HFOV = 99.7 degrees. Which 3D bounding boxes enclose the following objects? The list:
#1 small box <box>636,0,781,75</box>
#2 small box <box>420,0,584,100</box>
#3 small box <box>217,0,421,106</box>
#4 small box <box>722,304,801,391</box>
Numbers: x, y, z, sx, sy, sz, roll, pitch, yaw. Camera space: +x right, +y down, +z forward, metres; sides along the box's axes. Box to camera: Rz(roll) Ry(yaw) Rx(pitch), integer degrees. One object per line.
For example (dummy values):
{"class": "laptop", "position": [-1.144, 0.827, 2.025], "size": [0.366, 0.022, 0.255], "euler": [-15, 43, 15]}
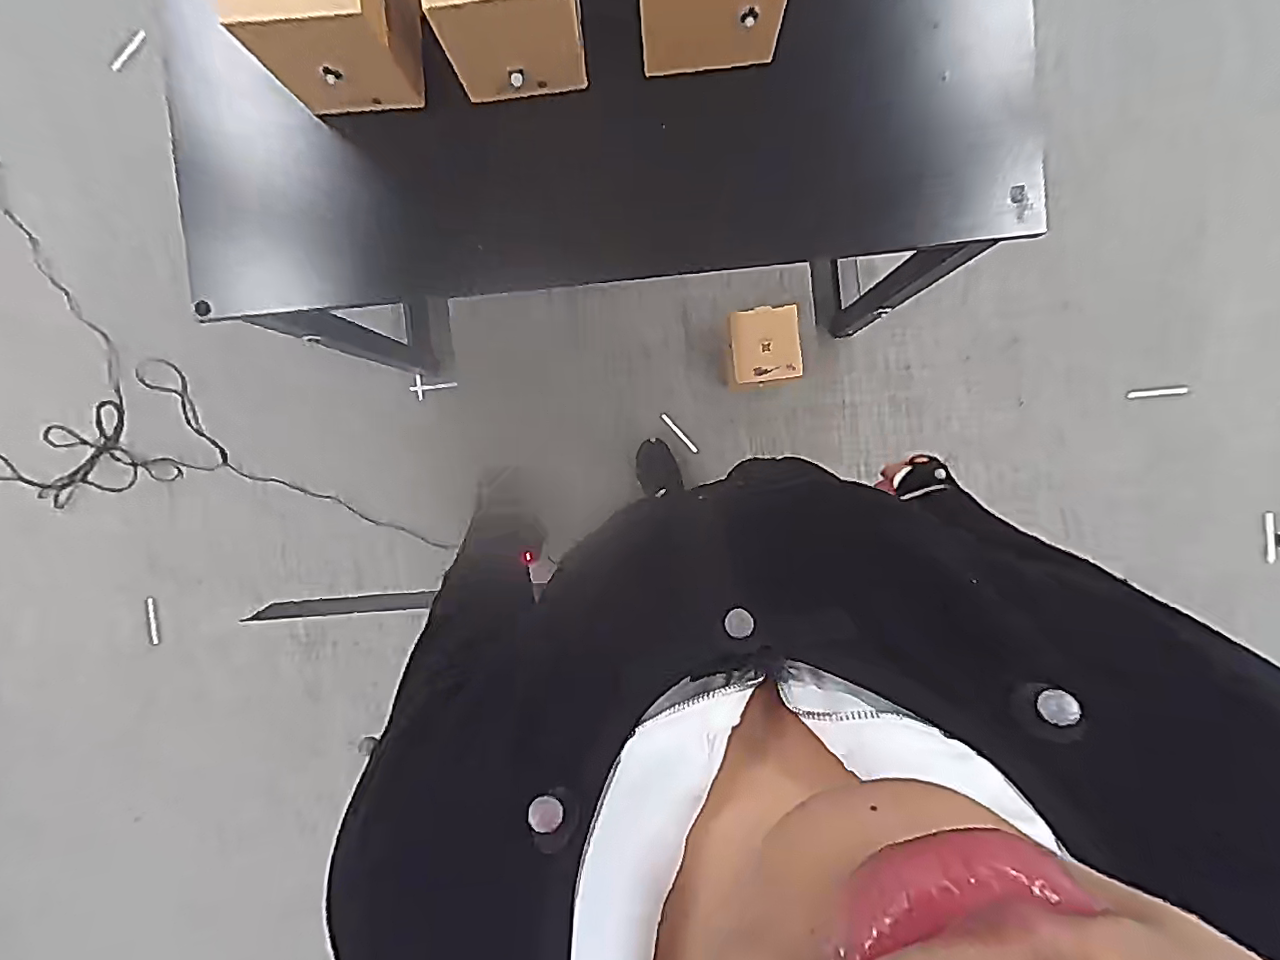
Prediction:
{"class": "small box", "position": [0.080, -0.641, 0.659], "size": [0.179, 0.176, 0.168], "euler": [-5, 91, 4]}
{"class": "small box", "position": [-0.167, -0.618, 0.669], "size": [0.168, 0.176, 0.179], "euler": [-6, 93, 3]}
{"class": "small box", "position": [-0.391, -0.603, 0.678], "size": [0.168, 0.176, 0.179], "euler": [-2, 92, 2]}
{"class": "small box", "position": [0.307, -0.335, 1.392], "size": [0.168, 0.176, 0.179], "euler": [-6, 92, 4]}
